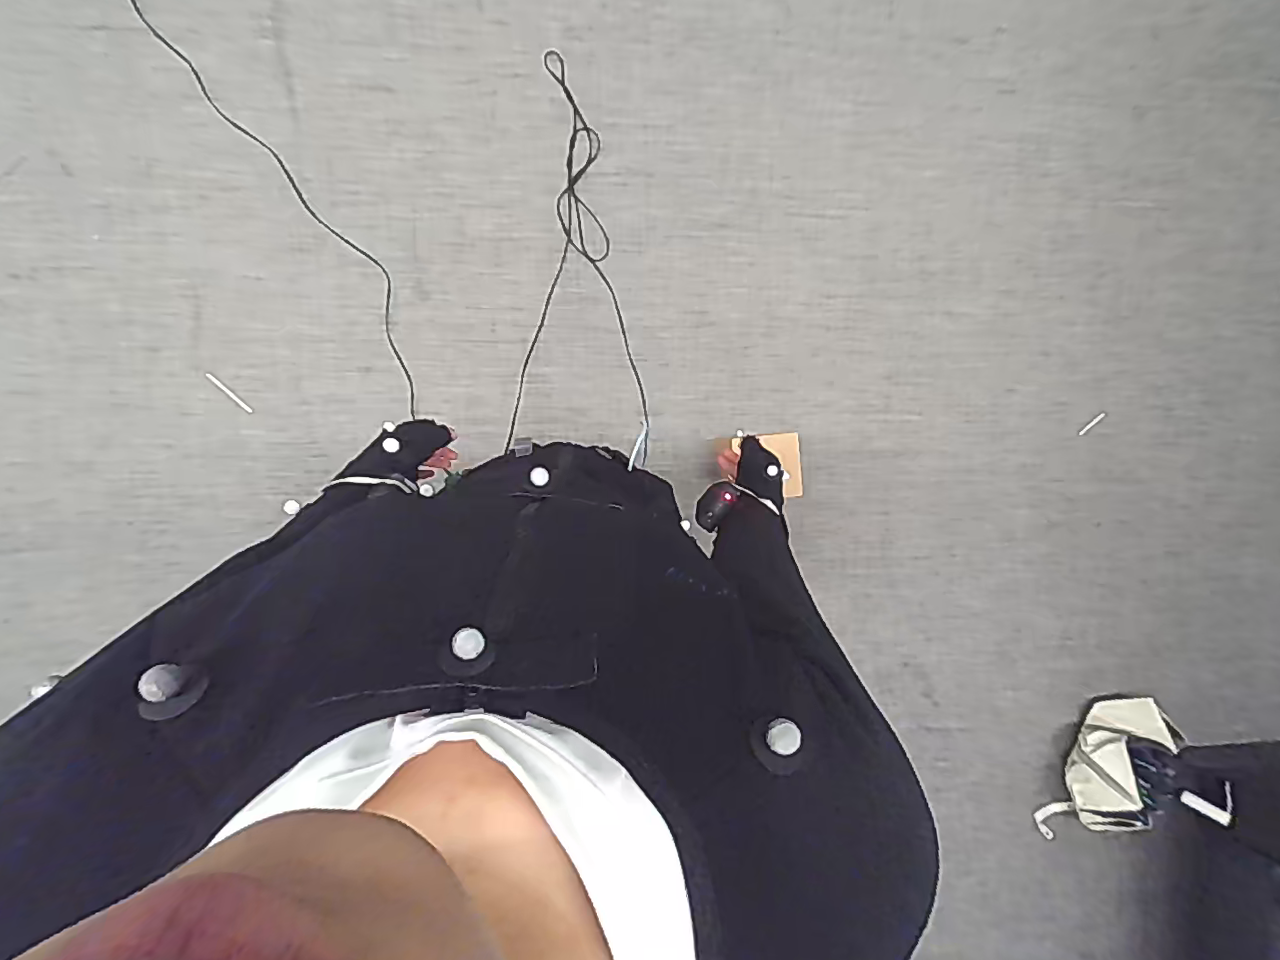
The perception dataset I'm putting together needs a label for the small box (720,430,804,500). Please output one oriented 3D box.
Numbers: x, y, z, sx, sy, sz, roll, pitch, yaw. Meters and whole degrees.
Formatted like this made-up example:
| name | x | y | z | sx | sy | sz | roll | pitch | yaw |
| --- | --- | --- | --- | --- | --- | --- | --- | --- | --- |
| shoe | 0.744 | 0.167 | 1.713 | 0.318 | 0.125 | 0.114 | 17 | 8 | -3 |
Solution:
| name | x | y | z | sx | sy | sz | roll | pitch | yaw |
| --- | --- | --- | --- | --- | --- | --- | --- | --- | --- |
| small box | 0.314 | -0.042 | 1.426 | 0.179 | 0.176 | 0.168 | -6 | 95 | -6 |
